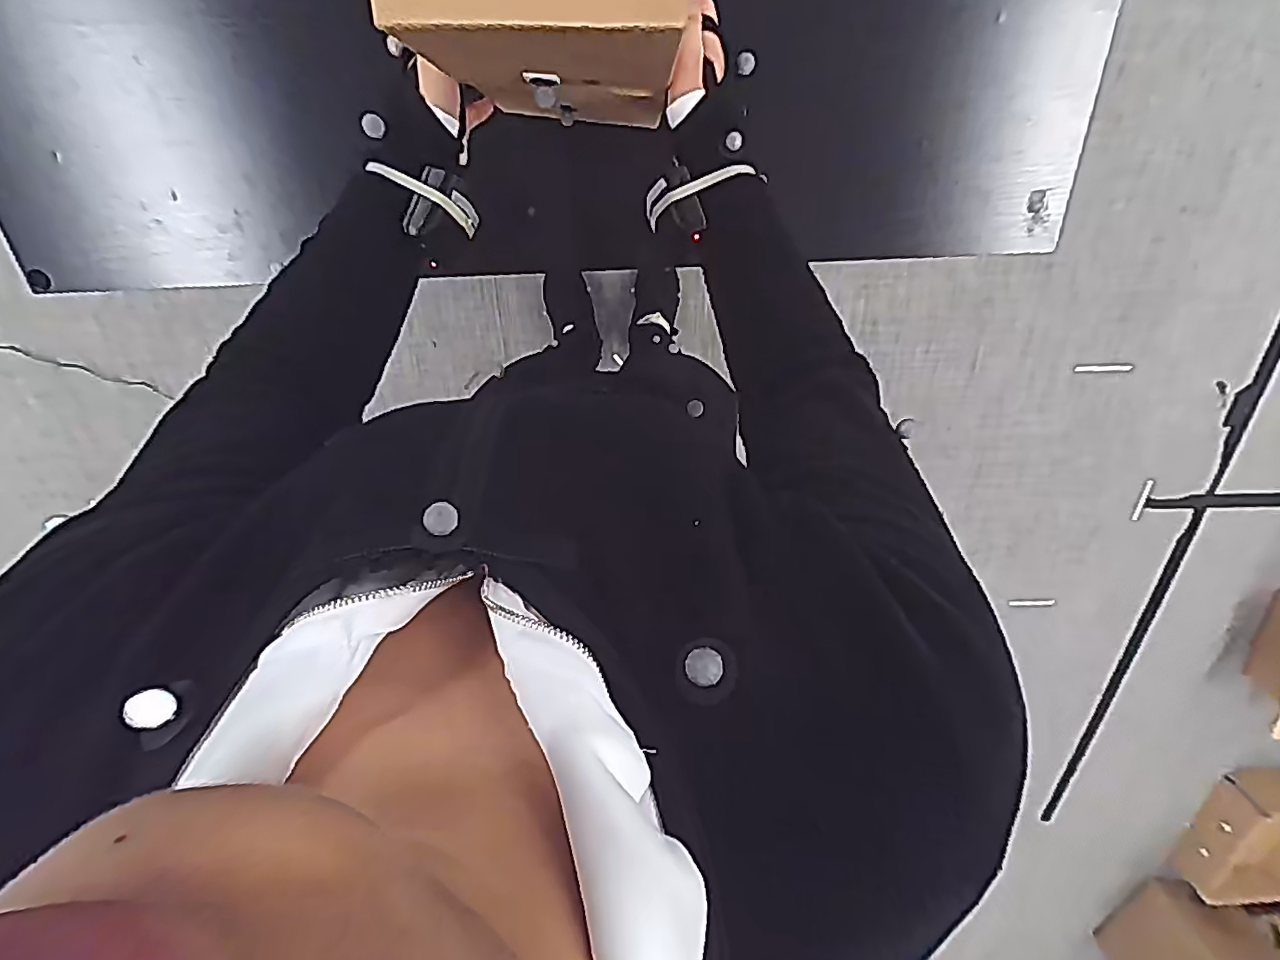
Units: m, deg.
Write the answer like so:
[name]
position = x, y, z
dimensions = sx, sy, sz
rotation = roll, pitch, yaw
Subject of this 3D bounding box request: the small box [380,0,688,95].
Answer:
[small box]
position = -0.056, -0.356, 0.326
dimensions = 0.168, 0.176, 0.179
rotation = 0, 117, 0
